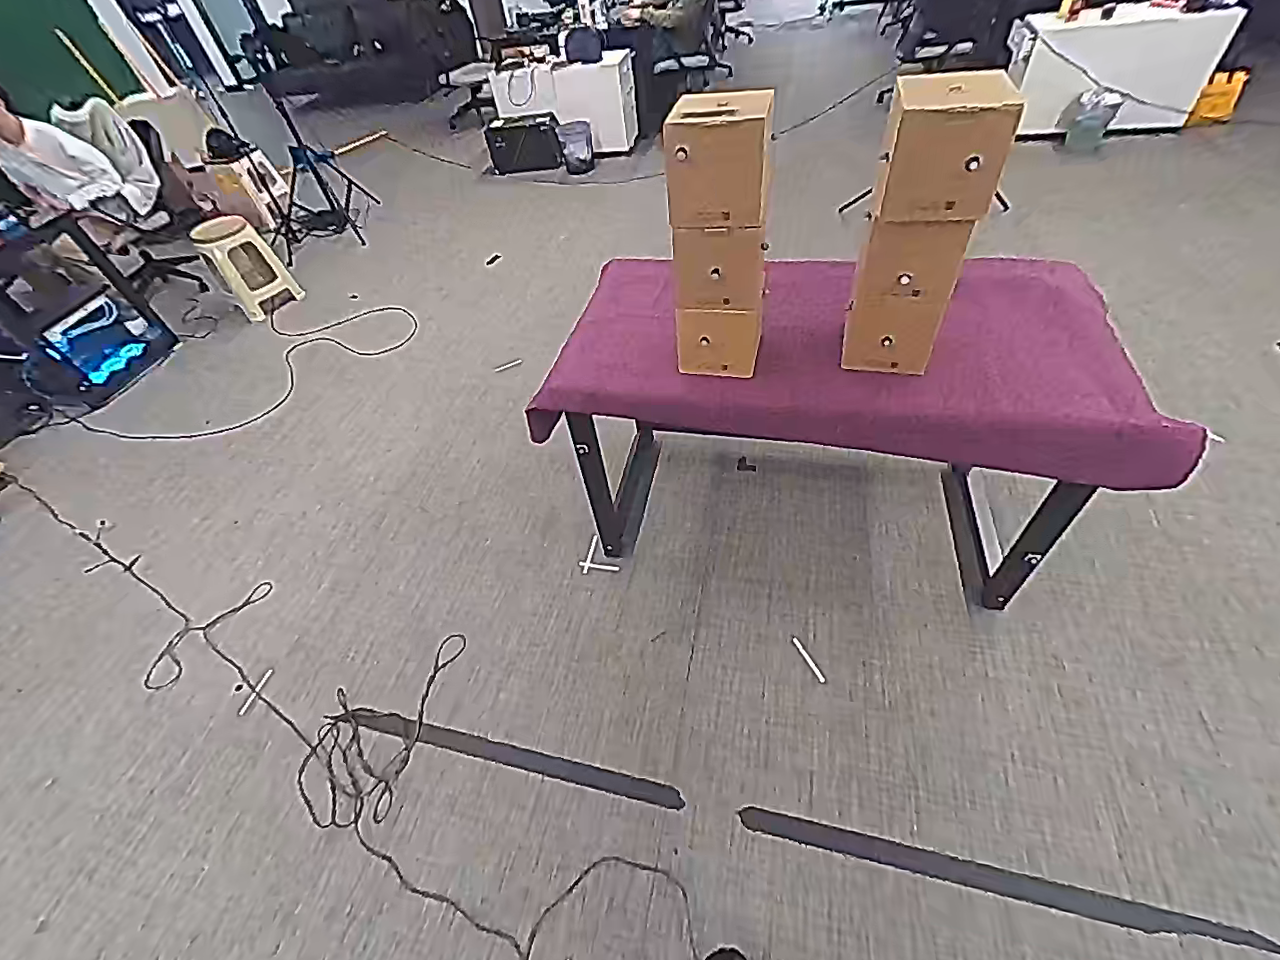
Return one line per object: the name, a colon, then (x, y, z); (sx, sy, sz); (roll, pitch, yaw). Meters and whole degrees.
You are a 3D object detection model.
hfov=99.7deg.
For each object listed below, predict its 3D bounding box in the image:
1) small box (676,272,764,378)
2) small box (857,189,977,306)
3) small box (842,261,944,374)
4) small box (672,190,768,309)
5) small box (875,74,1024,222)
small box: (0.182, -0.347, 1.210); (0.168, 0.176, 0.179); (7, 49, 14)
small box: (0.520, -0.458, 1.036); (0.168, 0.176, 0.179); (8, 51, 15)
small box: (0.534, -0.347, 1.156); (0.168, 0.176, 0.179); (9, 50, 15)
small box: (0.165, -0.461, 1.093); (0.168, 0.176, 0.179); (6, 49, 12)
small box: (0.499, -0.548, 0.901); (0.168, 0.176, 0.179); (6, 49, 13)
